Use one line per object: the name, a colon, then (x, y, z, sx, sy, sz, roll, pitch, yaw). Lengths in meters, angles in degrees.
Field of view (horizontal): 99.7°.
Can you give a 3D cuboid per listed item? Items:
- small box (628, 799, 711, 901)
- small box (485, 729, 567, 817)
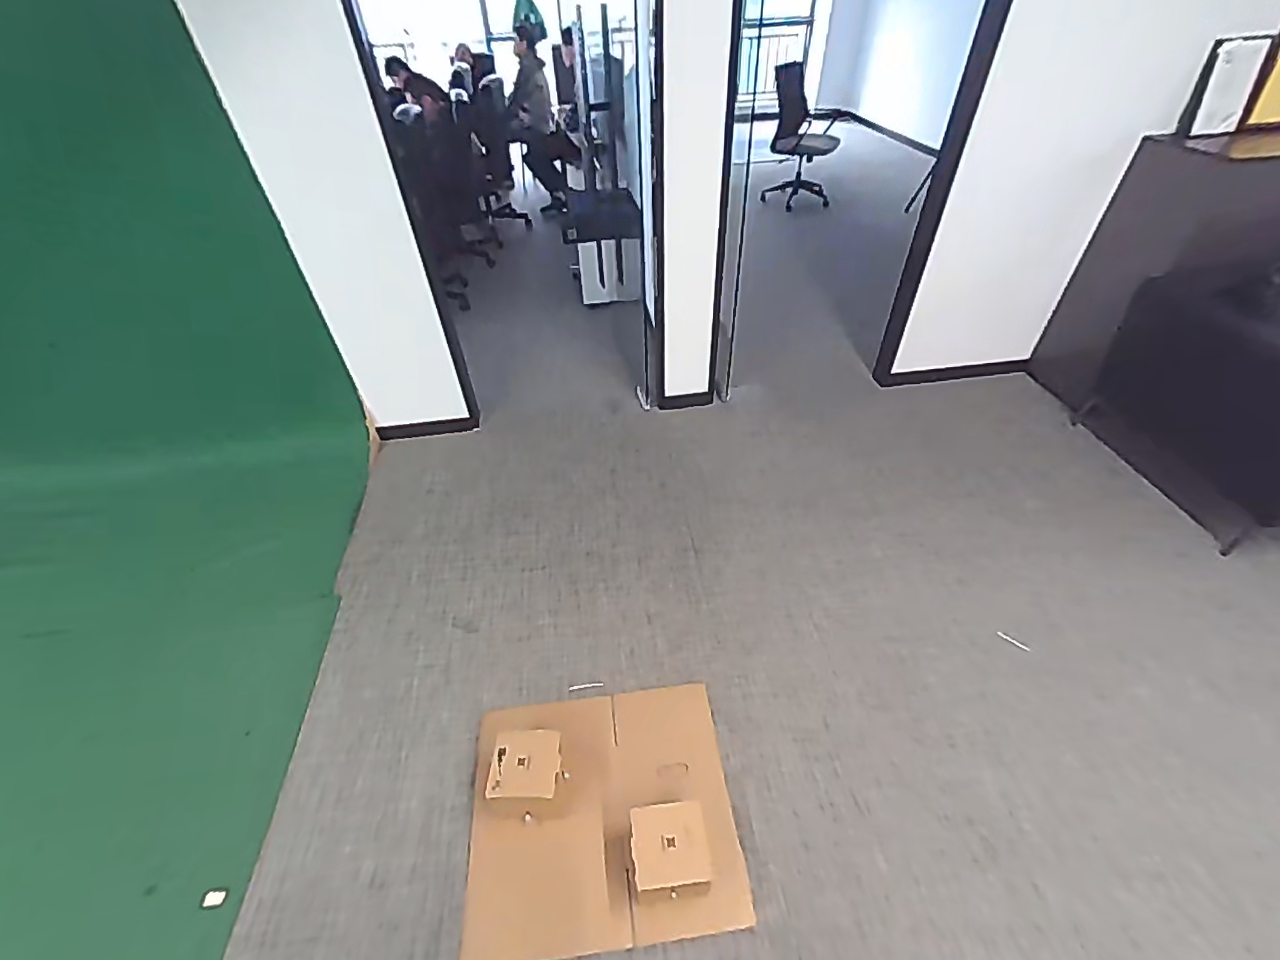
small box: (0.069, 0.900, 1.312, 0.179, 0.176, 0.168, -6, 44, -3)
small box: (-0.295, 0.785, 1.446, 0.179, 0.176, 0.168, 0, 43, 2)
